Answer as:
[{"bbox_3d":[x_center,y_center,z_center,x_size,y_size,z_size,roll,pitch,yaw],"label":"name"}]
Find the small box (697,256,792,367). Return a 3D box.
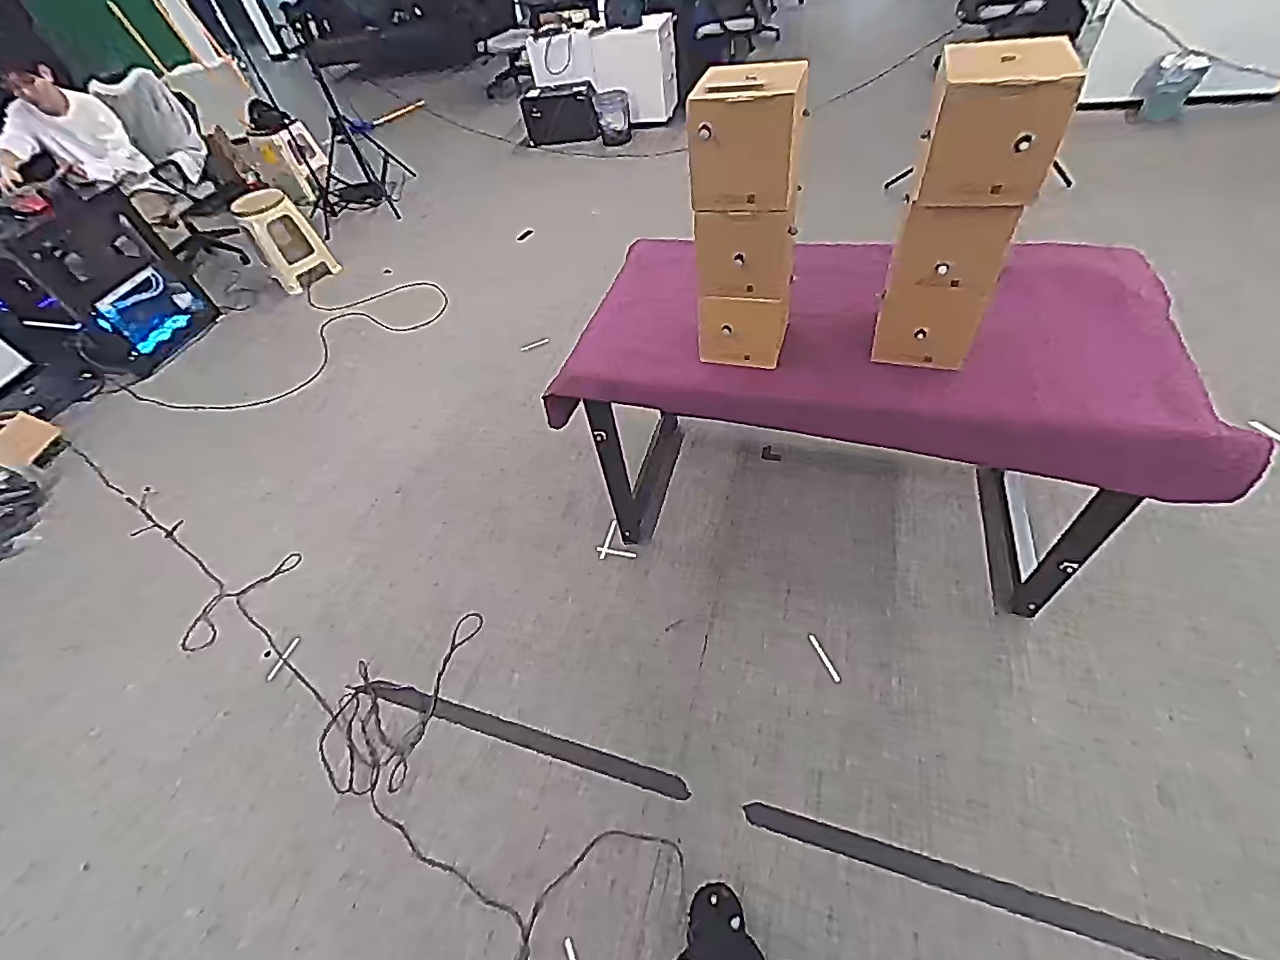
[{"bbox_3d":[0.226,-0.362,1.159,0.168,0.176,0.179,10,52,17],"label":"small box"}]

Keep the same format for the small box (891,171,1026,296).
[{"bbox_3d":[0.556,-0.453,0.962,0.168,0.176,0.179,11,54,18],"label":"small box"}]

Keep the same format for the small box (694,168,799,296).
[{"bbox_3d":[0.205,-0.472,1.038,0.168,0.176,0.179,8,52,15],"label":"small box"}]

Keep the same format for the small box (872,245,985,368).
[{"bbox_3d":[0.573,-0.347,1.086,0.168,0.176,0.179,12,53,18],"label":"small box"}]

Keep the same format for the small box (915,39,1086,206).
[{"bbox_3d":[0.531,-0.538,0.824,0.168,0.176,0.179,9,52,15],"label":"small box"}]
